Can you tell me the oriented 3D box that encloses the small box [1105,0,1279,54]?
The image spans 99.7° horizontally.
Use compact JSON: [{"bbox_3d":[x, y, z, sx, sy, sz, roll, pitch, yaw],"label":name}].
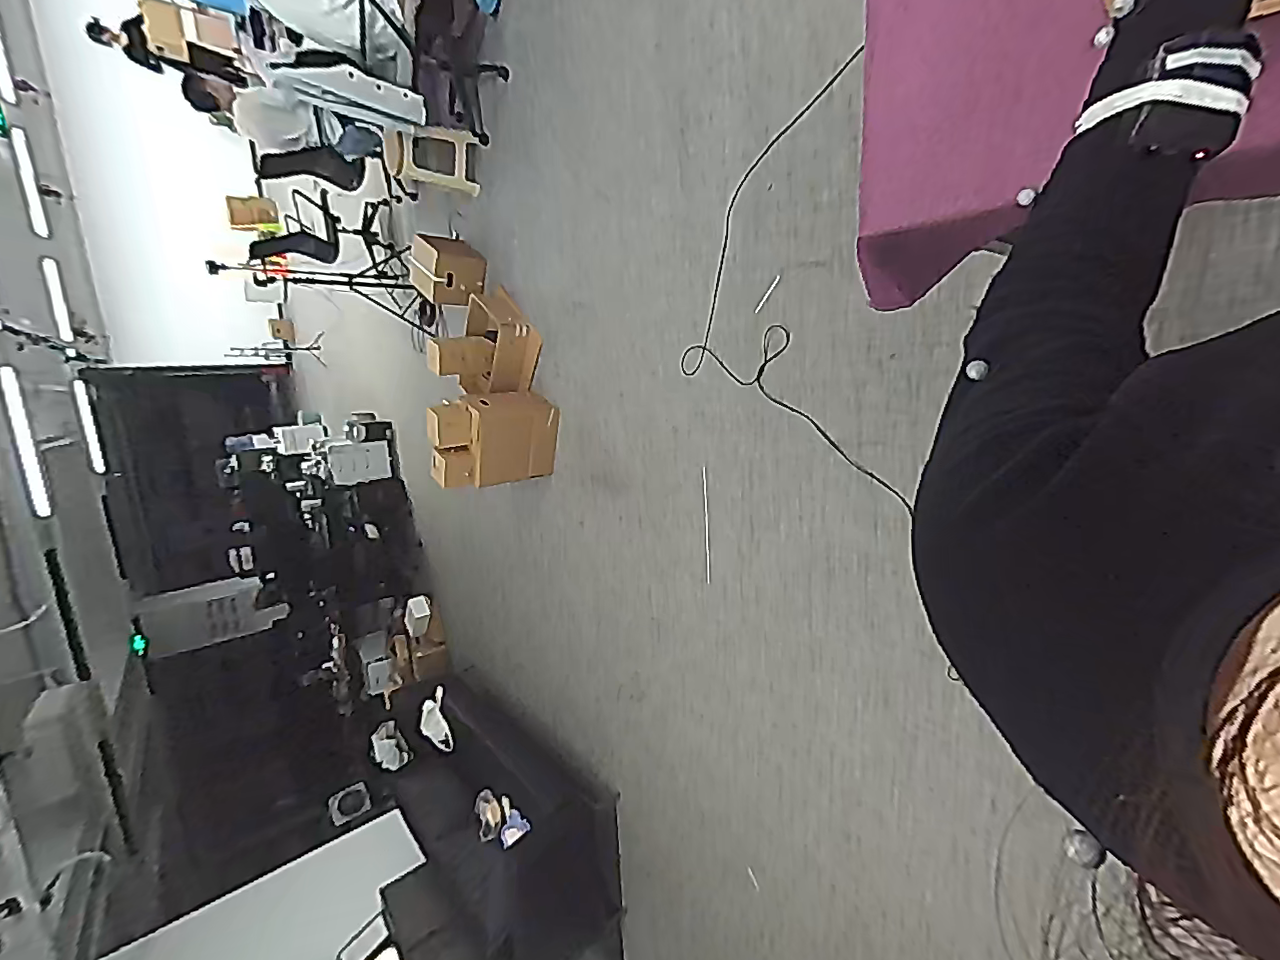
[{"bbox_3d":[0.497,-0.508,0.437,0.168,0.176,0.179,17,100,48],"label":"small box"}]
